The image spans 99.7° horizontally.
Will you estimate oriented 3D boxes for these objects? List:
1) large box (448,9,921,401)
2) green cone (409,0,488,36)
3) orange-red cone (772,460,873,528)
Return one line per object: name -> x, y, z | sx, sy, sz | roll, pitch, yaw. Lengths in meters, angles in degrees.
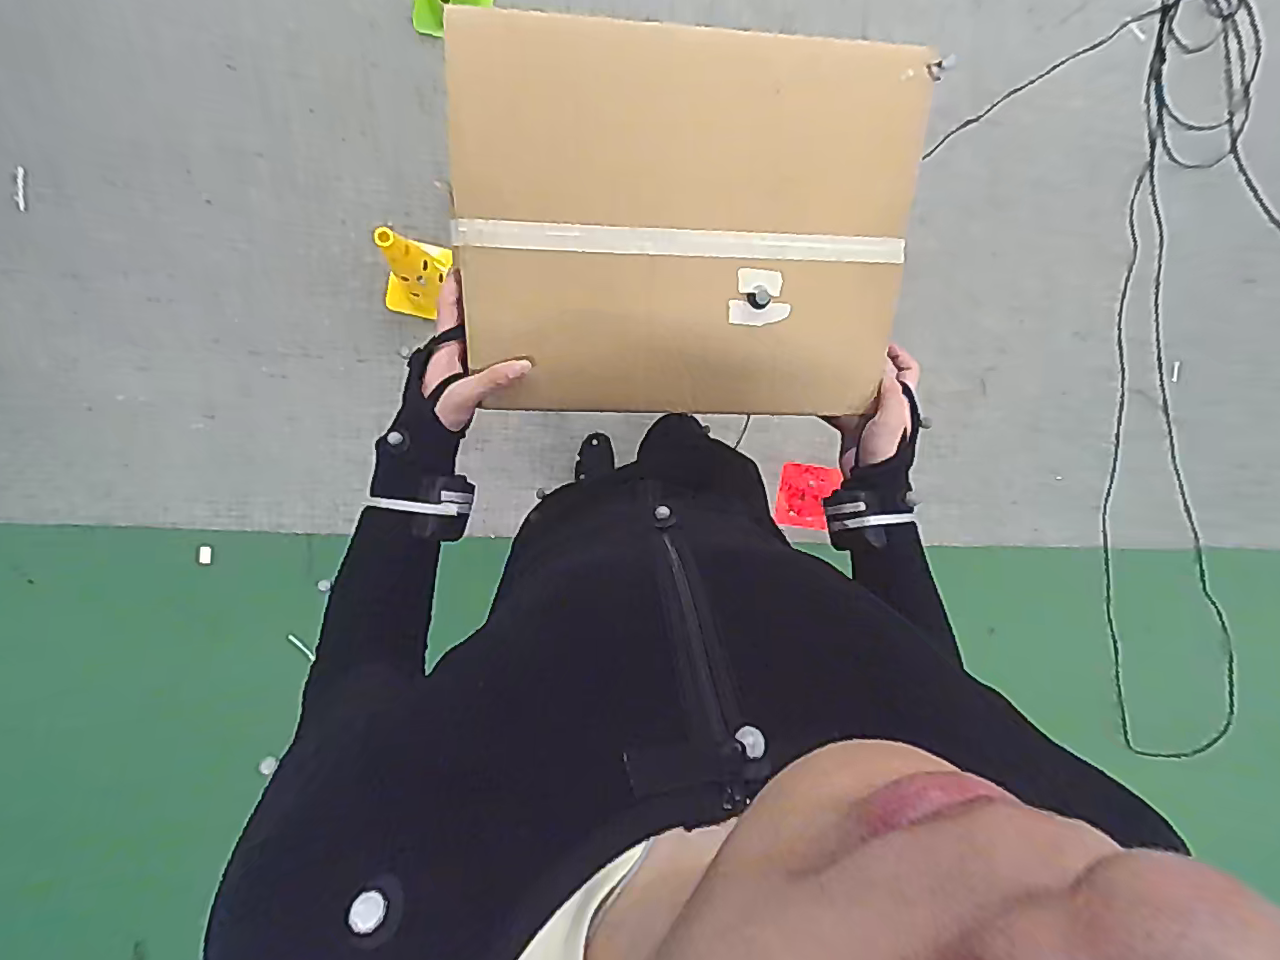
large box -> 0.025, -0.275, 0.630 | 0.408, 0.320, 0.320 | 0, 111, -7
green cone -> -0.493, -1.290, 1.290 | 0.200, 0.368, 0.202 | 8, 95, -7
orange-red cone -> 0.547, 0.063, 1.532 | 0.199, 0.360, 0.198 | 9, 94, -9
